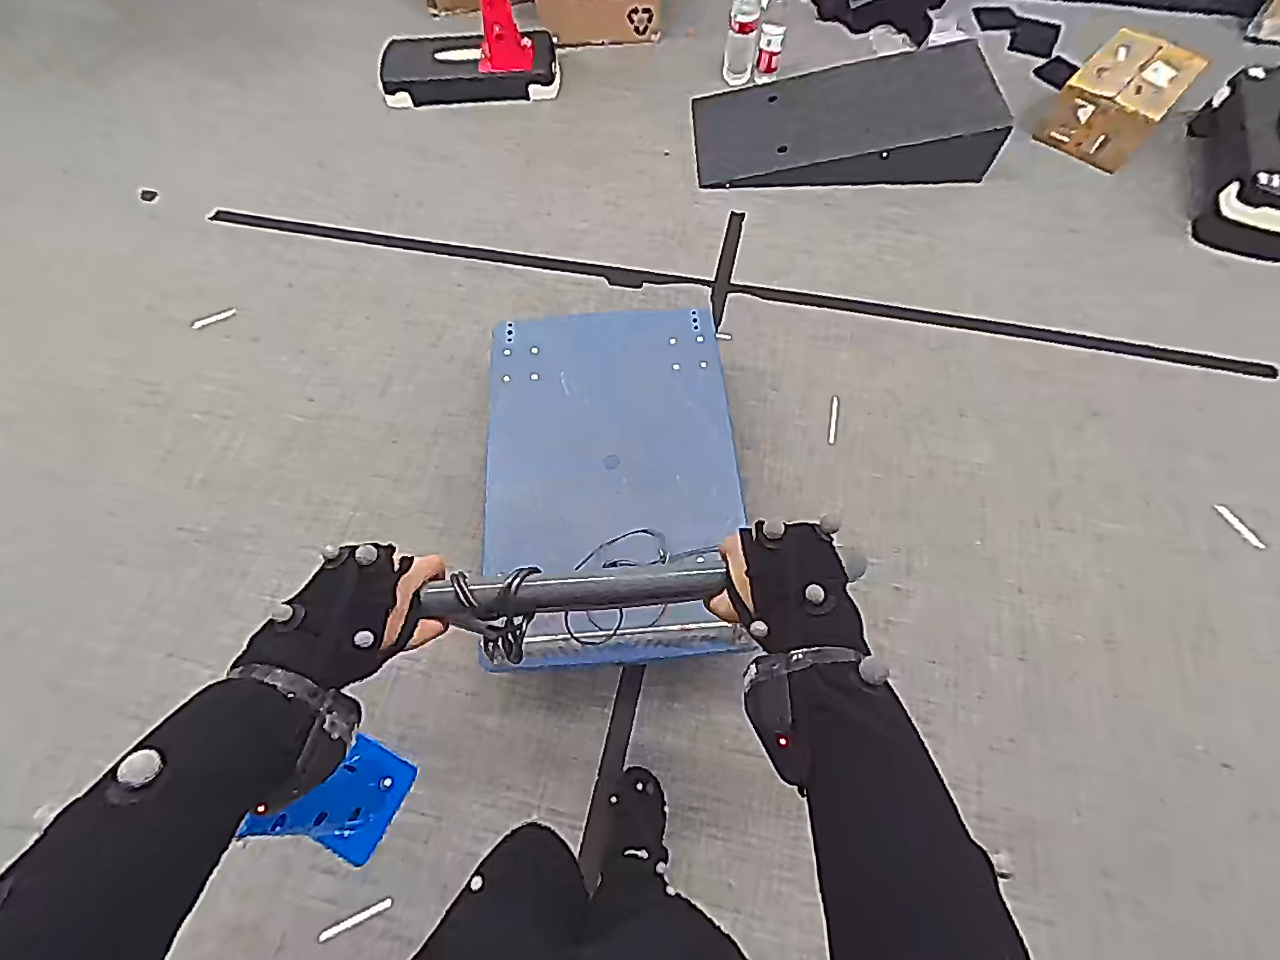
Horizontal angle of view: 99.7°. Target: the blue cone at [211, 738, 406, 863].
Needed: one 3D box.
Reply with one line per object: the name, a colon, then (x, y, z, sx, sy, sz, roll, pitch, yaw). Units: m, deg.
blue cone: (-0.601, 0.585, 0.962, 0.193, 0.380, 0.192, 26, 69, 12)
